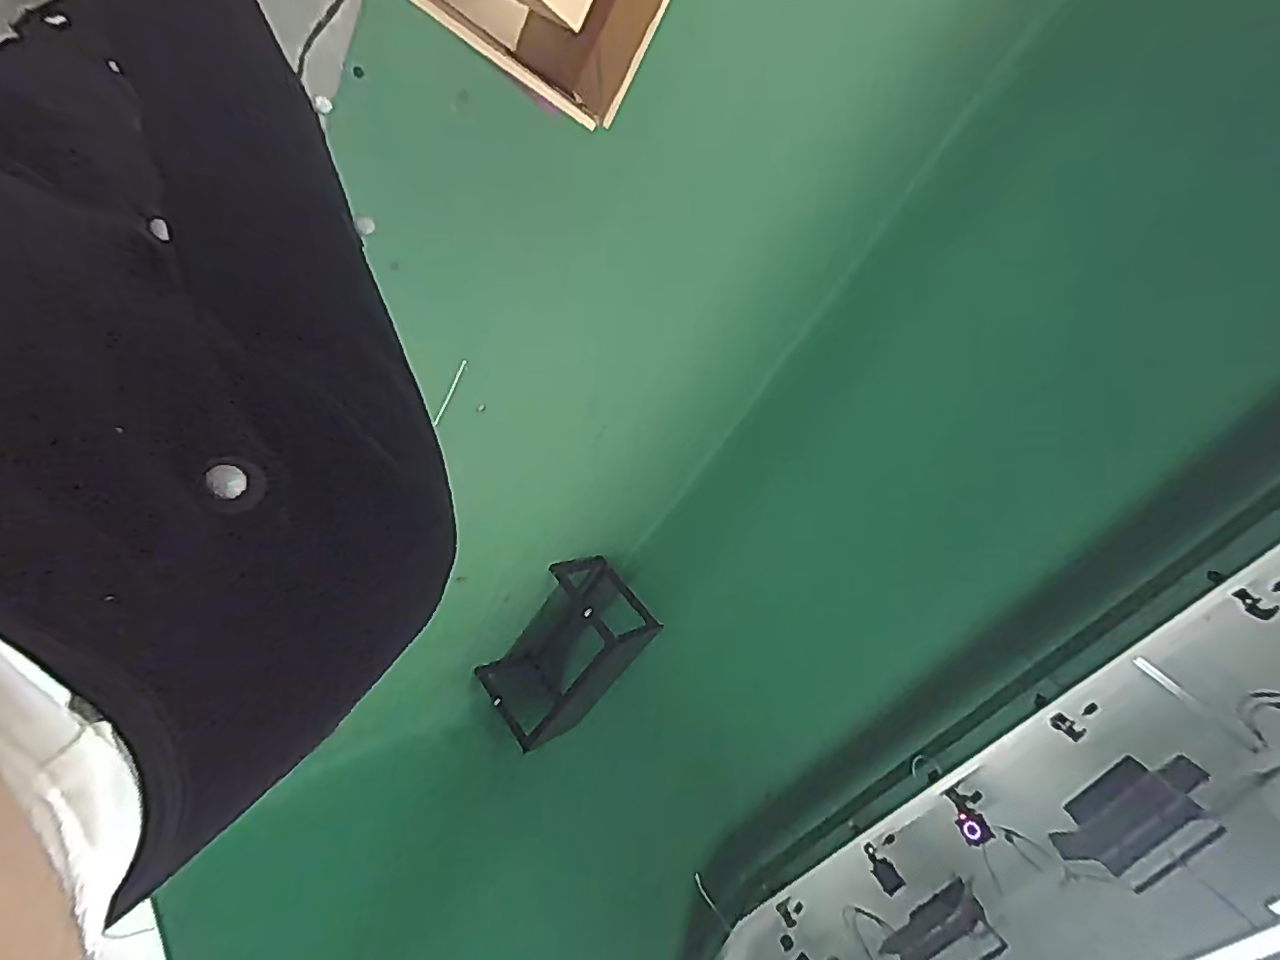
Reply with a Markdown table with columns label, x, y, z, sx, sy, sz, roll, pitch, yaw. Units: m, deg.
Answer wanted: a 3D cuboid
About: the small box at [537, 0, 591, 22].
| label | x | y | z | sx | sy | sz | roll | pitch | yaw |
| --- | --- | --- | --- | --- | --- | --- | --- | --- | --- |
| small box | -0.119 | -0.612 | 0.523 | 0.168 | 0.176 | 0.179 | -3 | 134 | -52 |
